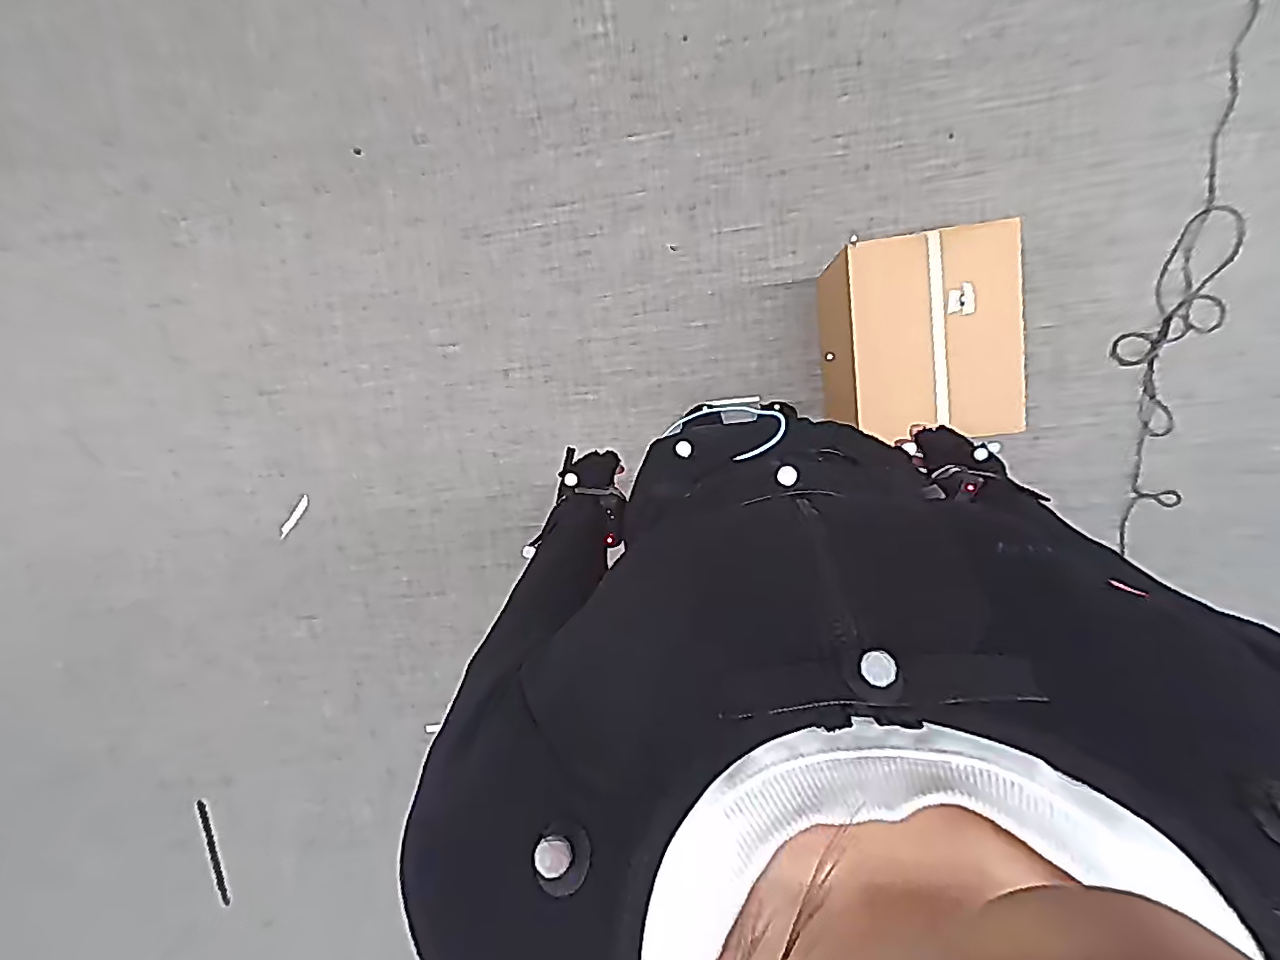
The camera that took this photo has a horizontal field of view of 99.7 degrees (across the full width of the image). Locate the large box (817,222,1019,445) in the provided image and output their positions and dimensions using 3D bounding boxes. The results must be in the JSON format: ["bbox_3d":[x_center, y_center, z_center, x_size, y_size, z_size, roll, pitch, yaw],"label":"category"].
[{"bbox_3d":[0.597,-0.300,1.219,0.320,0.320,0.408,-6,96,7],"label":"large box"}]
